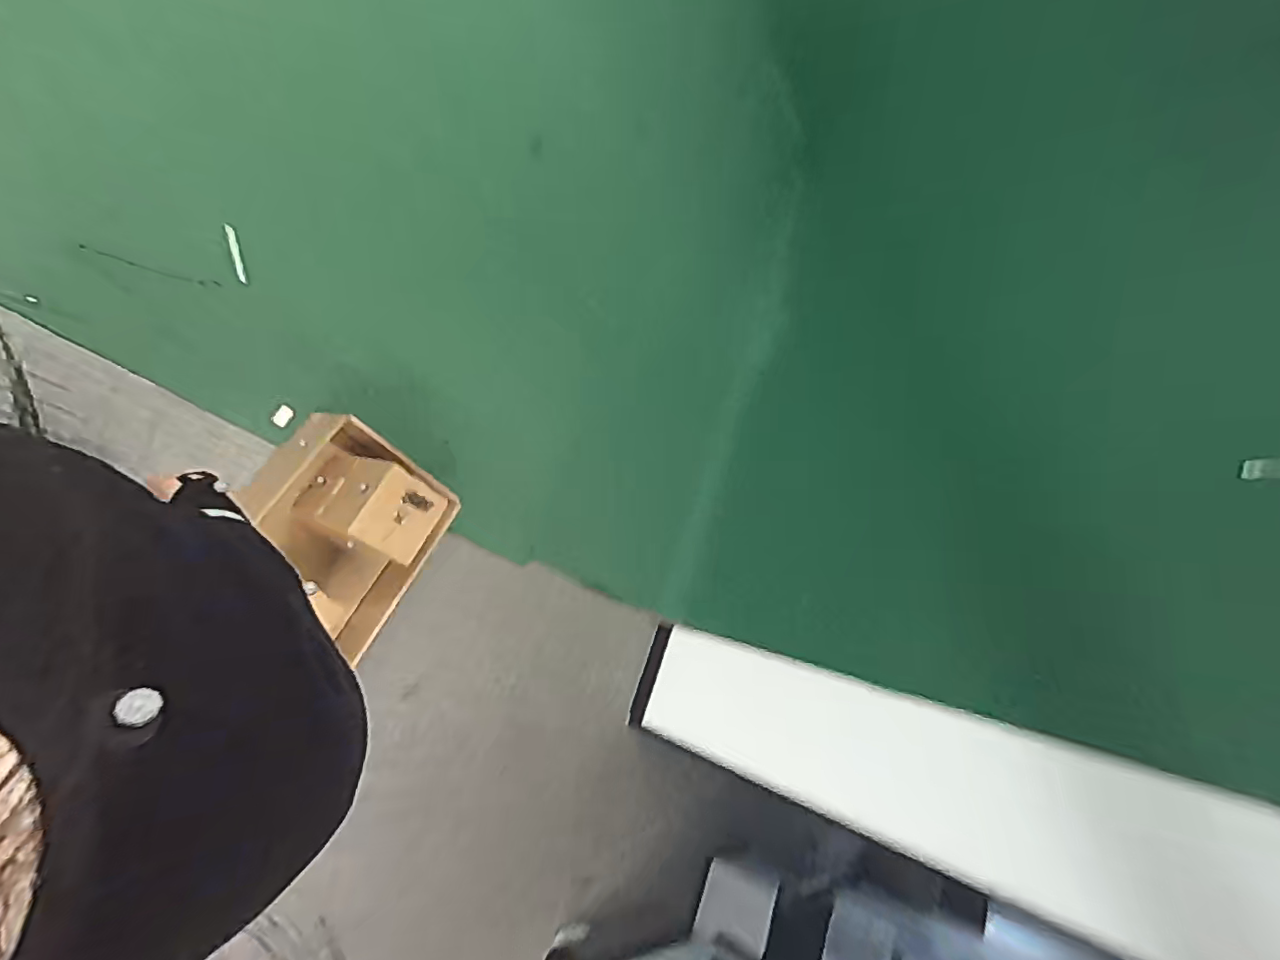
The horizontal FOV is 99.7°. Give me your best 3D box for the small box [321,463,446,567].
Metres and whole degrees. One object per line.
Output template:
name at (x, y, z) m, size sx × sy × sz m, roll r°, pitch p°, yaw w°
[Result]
small box at (-0.600, 0.075, 1.259) m, size 0.168 × 0.176 × 0.179 m, roll 49°, pitch 60°, yaw -43°
